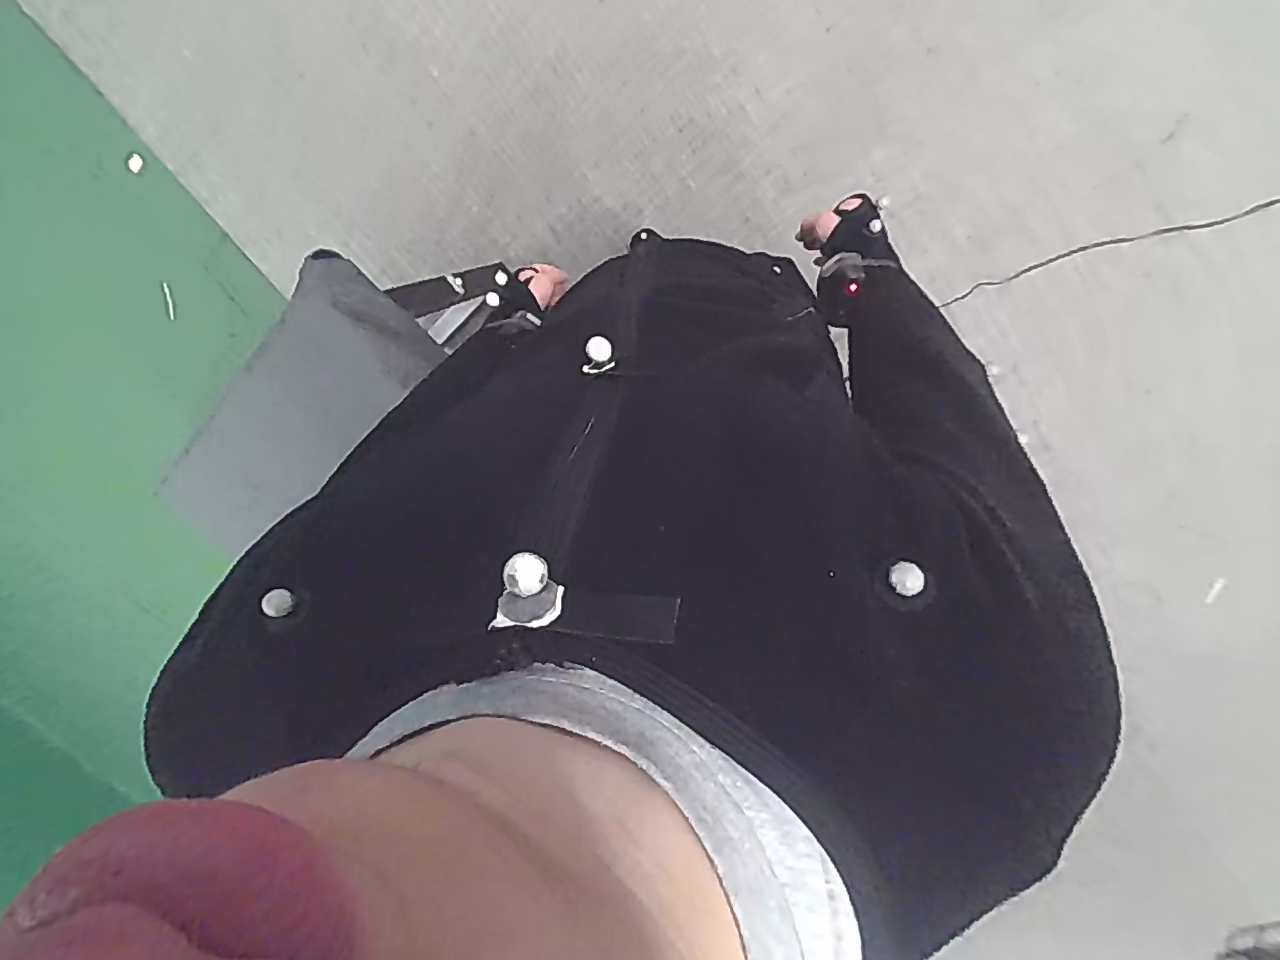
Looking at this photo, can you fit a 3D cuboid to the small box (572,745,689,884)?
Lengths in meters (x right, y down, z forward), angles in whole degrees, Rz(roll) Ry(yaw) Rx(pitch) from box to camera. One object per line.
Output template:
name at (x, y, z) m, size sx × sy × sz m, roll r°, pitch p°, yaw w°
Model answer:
small box at (-0.011, 0.695, 1.134) m, size 0.179 × 0.176 × 0.168 m, roll -36°, pitch 105°, yaw 23°
